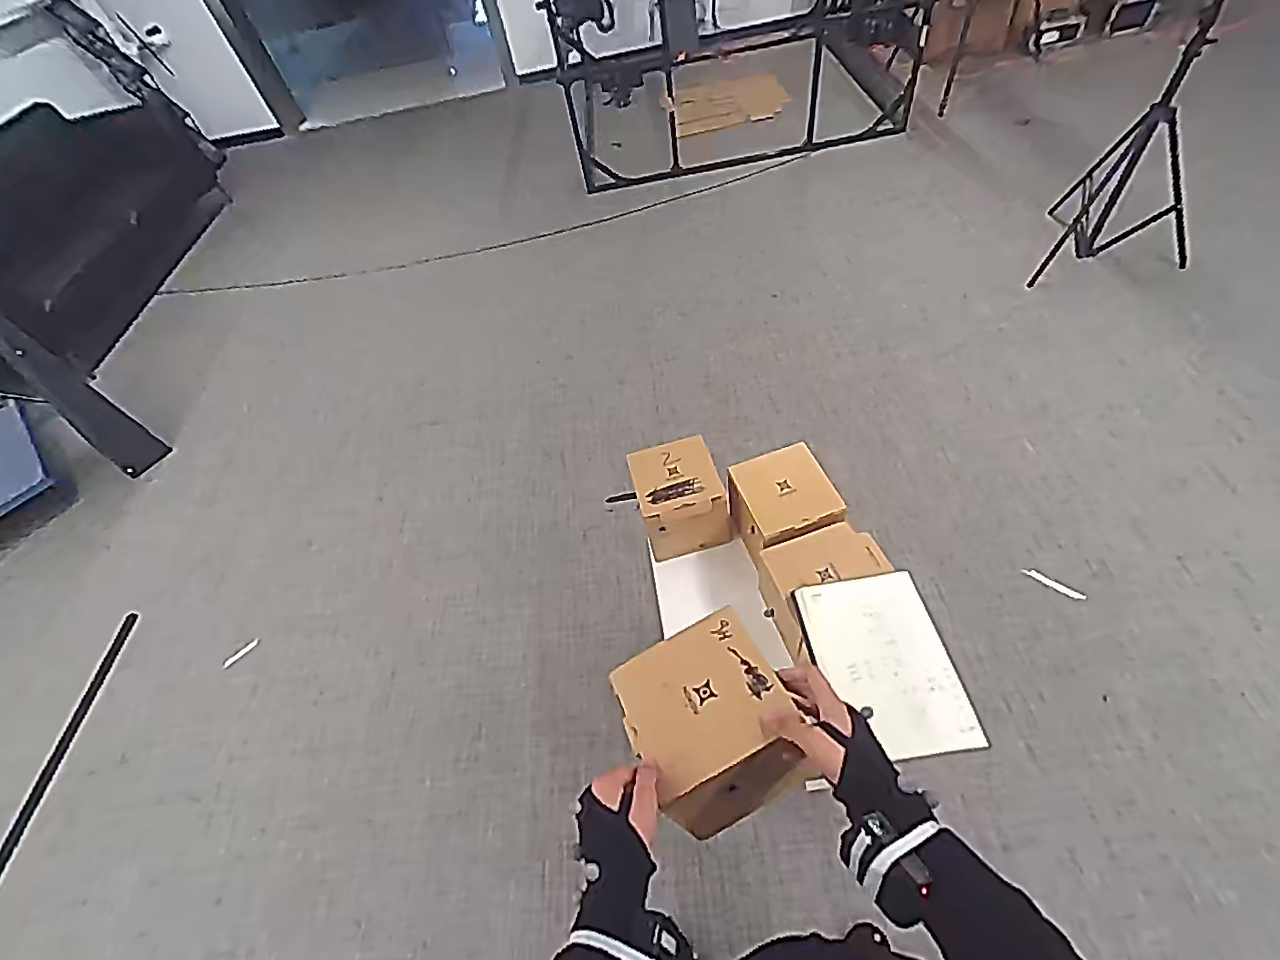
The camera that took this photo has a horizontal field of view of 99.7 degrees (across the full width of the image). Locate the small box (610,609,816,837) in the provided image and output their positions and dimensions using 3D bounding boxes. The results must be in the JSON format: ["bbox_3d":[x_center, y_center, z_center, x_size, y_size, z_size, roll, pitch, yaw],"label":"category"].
[{"bbox_3d":[0.092,0.300,0.662,0.179,0.176,0.168,-30,43,-2],"label":"small box"}]
